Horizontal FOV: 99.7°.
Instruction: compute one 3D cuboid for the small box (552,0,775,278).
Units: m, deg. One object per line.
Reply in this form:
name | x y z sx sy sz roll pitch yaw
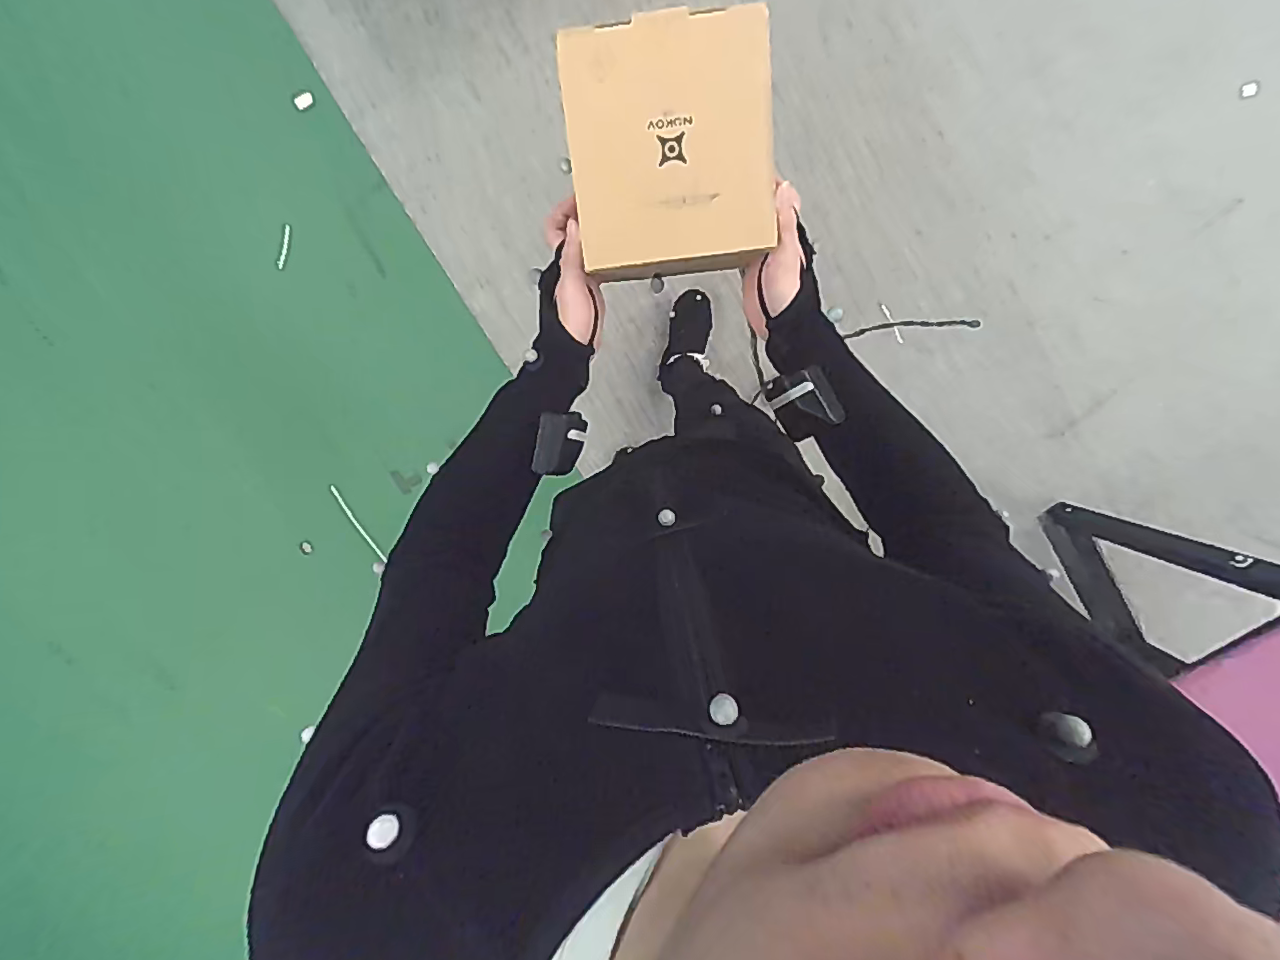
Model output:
small box | 0.022 -0.293 0.498 0.168 0.176 0.179 -6 106 2
